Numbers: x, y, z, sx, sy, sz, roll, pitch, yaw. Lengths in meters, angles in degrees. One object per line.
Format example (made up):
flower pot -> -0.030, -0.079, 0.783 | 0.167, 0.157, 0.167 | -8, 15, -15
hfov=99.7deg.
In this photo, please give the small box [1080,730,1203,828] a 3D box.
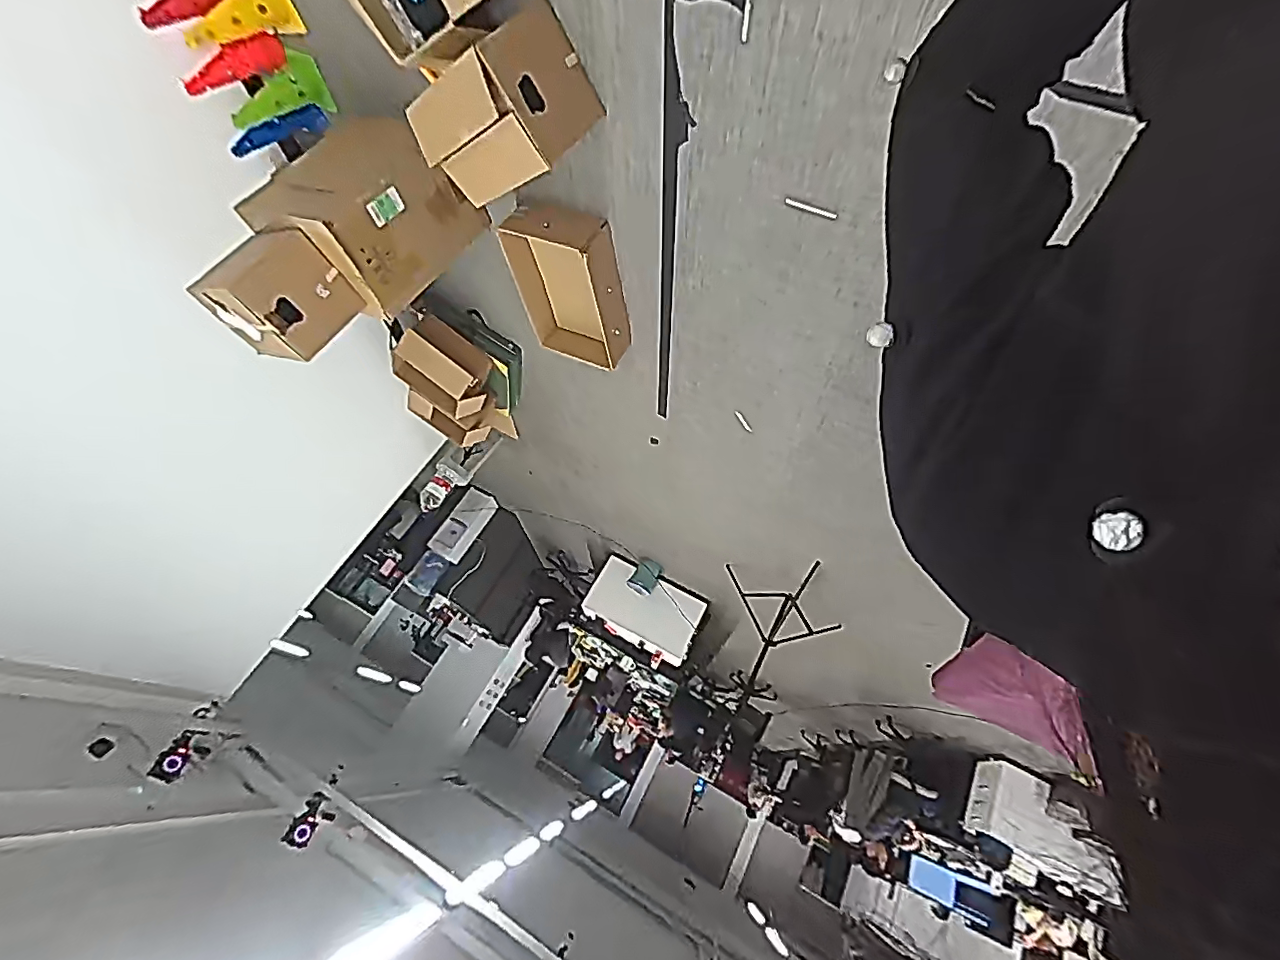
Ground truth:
small box -> 1.334, 0.786, 1.442 | 0.179, 0.176, 0.168 | 25, 157, 11
